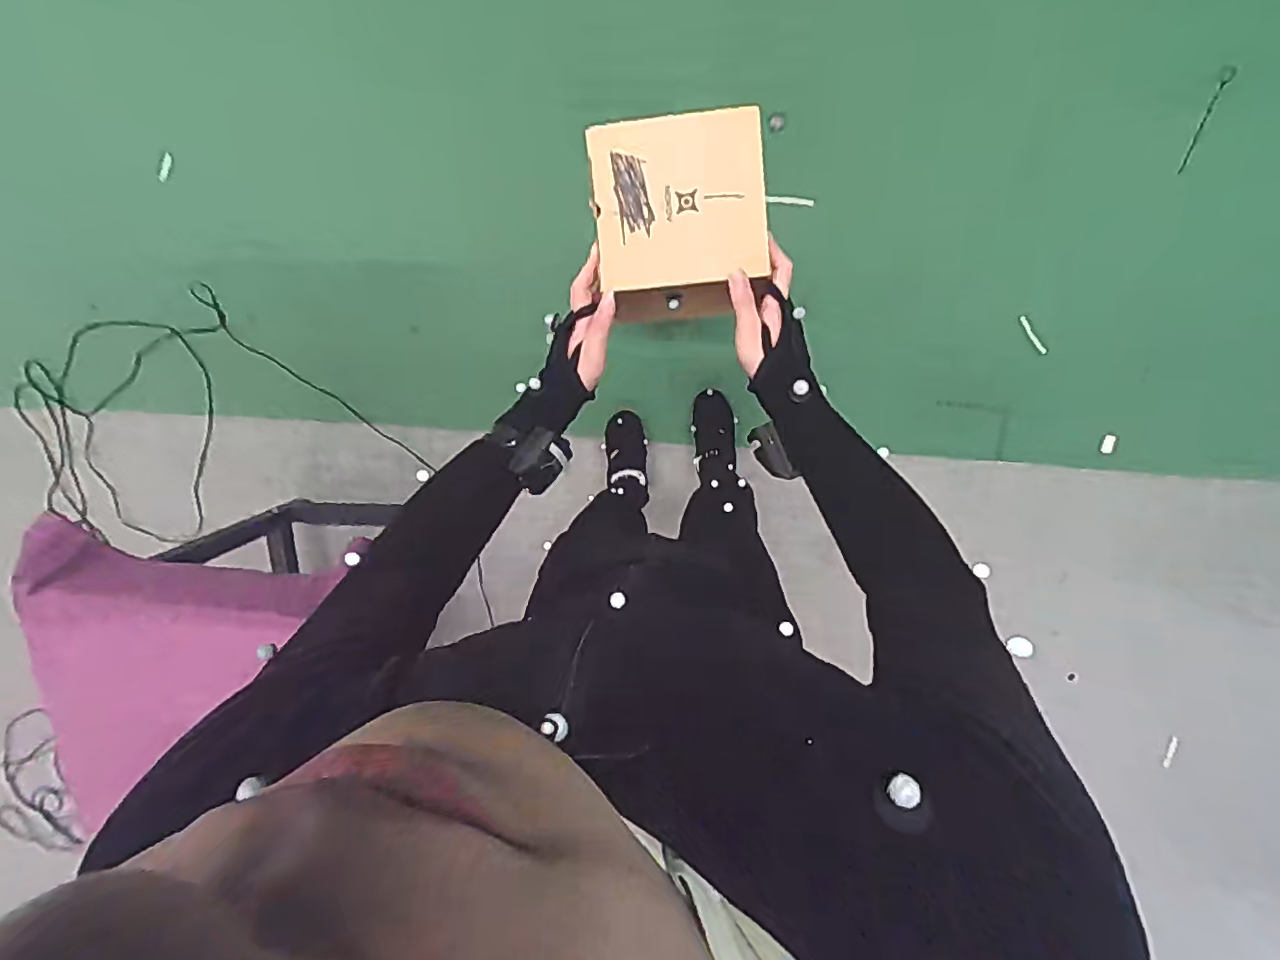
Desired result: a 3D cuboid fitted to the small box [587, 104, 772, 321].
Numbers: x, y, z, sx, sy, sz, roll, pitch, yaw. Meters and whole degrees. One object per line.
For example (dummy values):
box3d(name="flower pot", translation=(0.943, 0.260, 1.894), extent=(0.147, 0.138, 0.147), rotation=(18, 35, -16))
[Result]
box3d(name="small box", translation=(0.044, -0.284, 0.614), extent=(0.179, 0.176, 0.168), rotation=(-5, 95, 3))
